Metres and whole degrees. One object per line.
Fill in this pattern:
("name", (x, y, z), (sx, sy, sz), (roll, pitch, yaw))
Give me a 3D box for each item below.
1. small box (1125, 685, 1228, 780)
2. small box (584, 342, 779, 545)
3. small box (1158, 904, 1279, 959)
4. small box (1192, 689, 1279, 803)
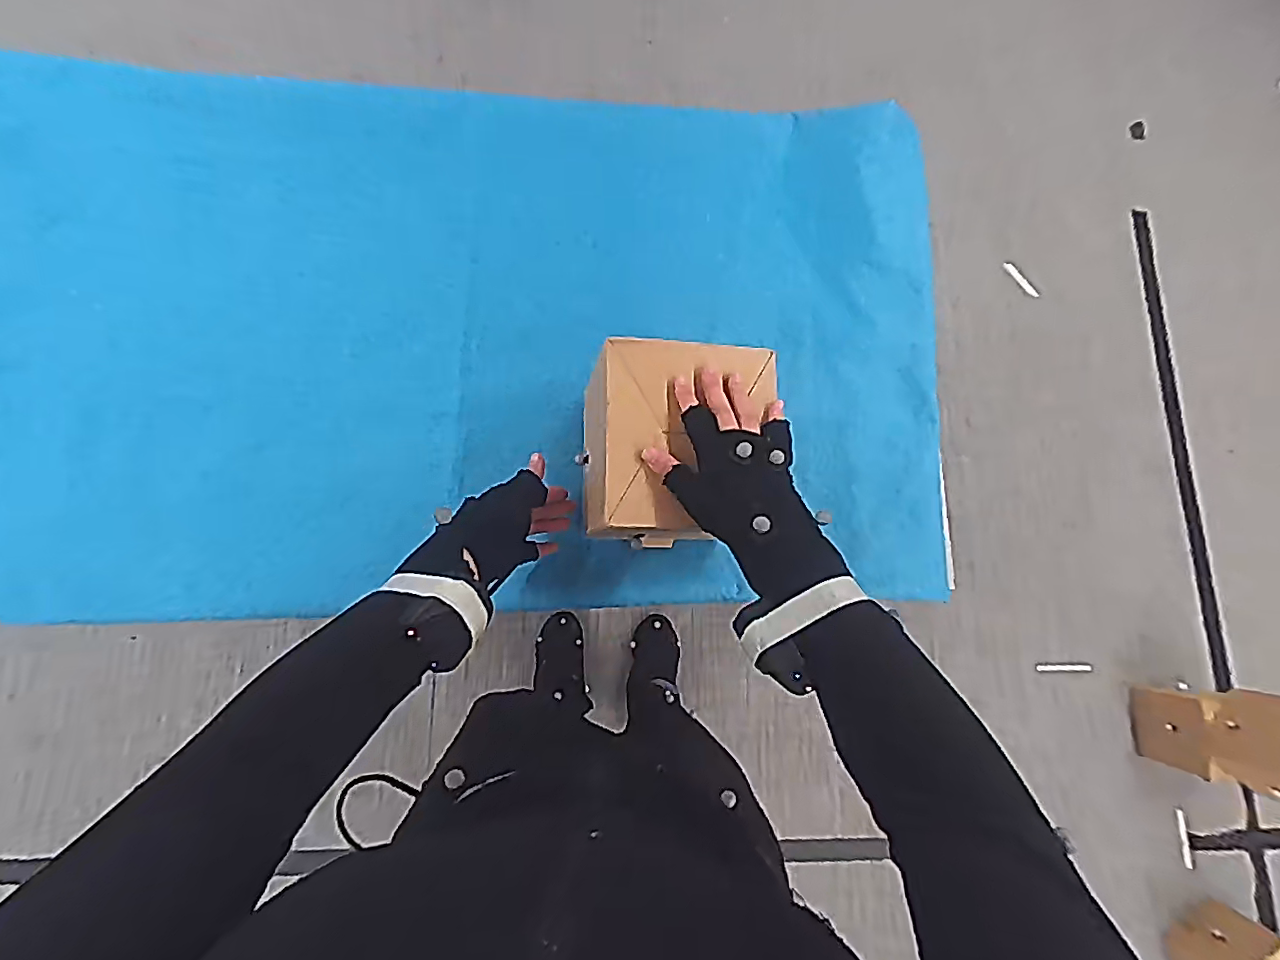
("small box", (1.355, 0.615, 1.332), (0.168, 0.176, 0.179), (3, 79, -5))
("small box", (0.033, -0.025, 0.571), (0.168, 0.176, 0.179), (2, 80, -14))
("small box", (1.376, 1.134, 1.249), (0.168, 0.176, 0.179), (-29, 84, -7))
("small box", (1.382, 0.588, 1.169), (0.168, 0.176, 0.179), (37, 79, 1))
